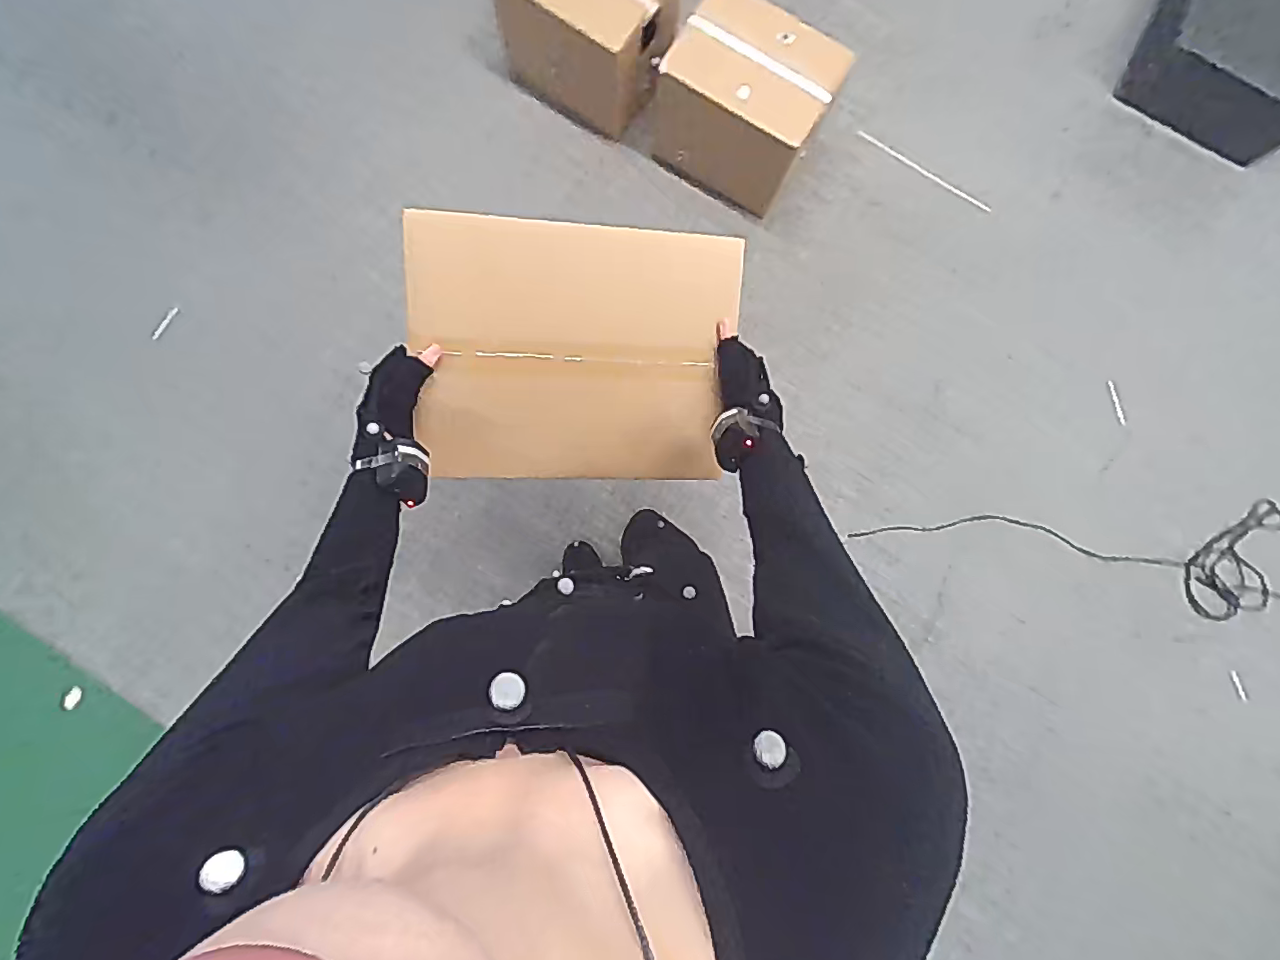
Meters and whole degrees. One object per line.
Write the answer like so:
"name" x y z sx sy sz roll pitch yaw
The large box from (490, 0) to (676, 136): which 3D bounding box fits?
"large box" -0.148 -1.267 1.496 0.408 0.320 0.320 33 84 2
